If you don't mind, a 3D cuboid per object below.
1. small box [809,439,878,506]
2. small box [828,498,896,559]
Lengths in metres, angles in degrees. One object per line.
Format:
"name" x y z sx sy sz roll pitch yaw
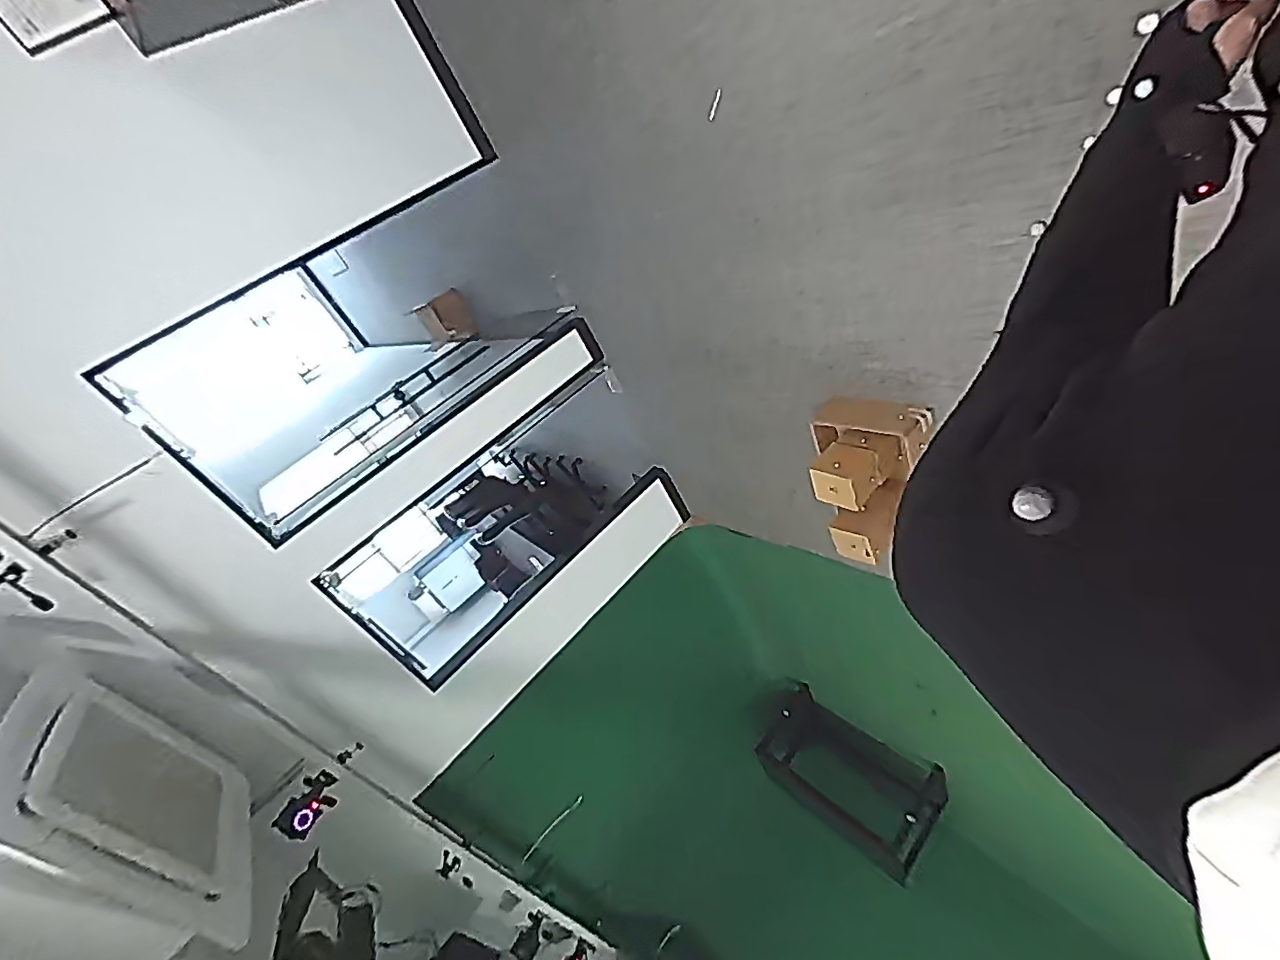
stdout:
"small box" 0.775 -0.035 2.050 0.179 0.176 0.168 20 146 46
"small box" 0.906 0.189 2.201 0.179 0.176 0.168 17 145 52
